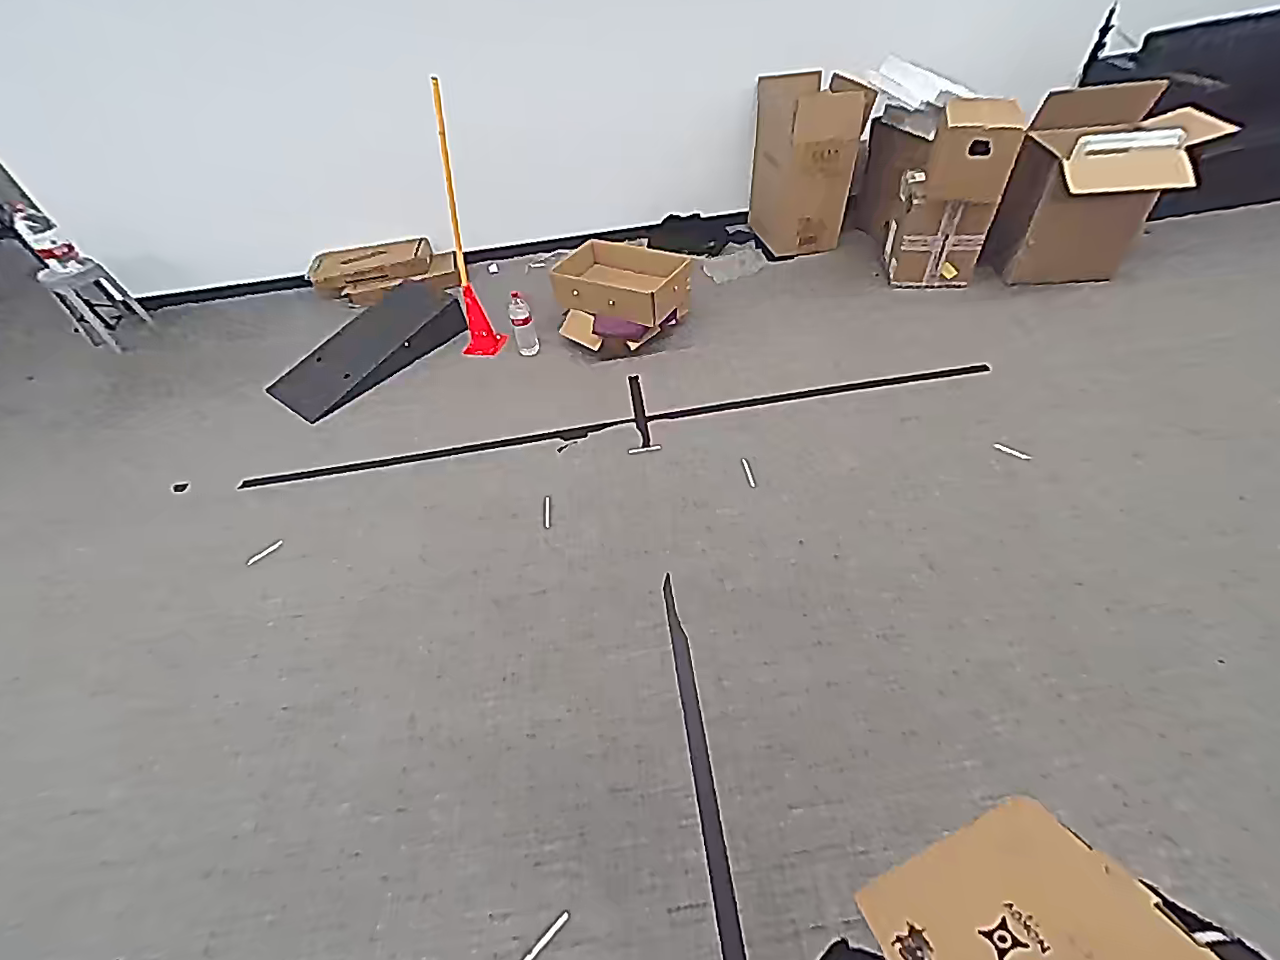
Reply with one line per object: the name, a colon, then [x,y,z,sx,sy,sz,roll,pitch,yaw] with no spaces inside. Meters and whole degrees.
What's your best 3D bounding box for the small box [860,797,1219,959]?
small box: [0.306,0.393,0.399,0.179,0.176,0.168,-28,8,-1]
